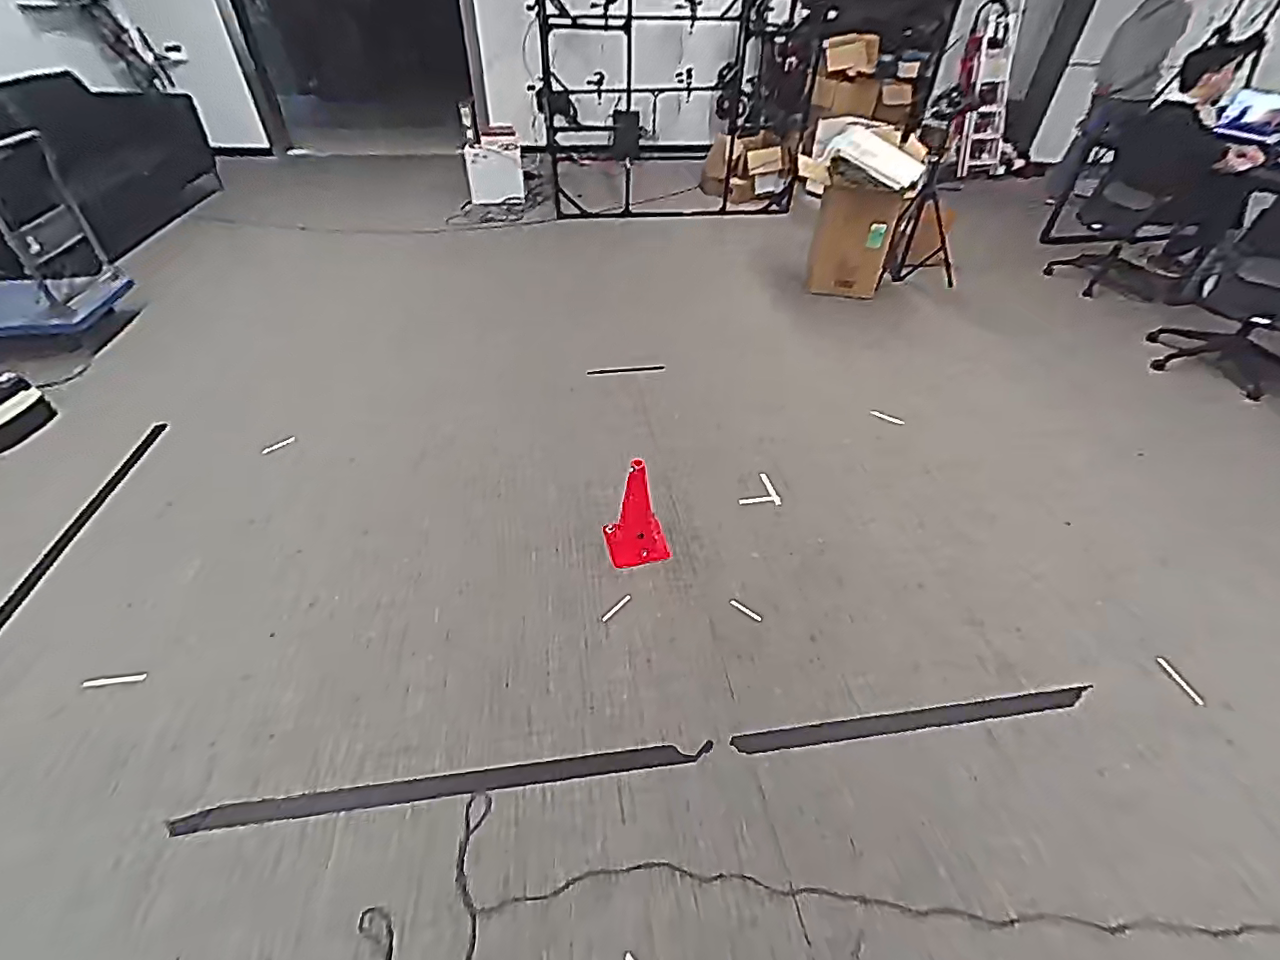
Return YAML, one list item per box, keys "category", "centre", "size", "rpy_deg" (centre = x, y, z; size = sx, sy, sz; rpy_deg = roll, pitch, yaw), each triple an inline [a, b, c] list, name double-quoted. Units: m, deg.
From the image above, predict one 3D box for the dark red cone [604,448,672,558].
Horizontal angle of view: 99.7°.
- category: "dark red cone"
  centre: [-0.005, 0.058, 1.717]
  size: [0.202, 0.394, 0.201]
  rpy_deg: [-10, 44, -13]
